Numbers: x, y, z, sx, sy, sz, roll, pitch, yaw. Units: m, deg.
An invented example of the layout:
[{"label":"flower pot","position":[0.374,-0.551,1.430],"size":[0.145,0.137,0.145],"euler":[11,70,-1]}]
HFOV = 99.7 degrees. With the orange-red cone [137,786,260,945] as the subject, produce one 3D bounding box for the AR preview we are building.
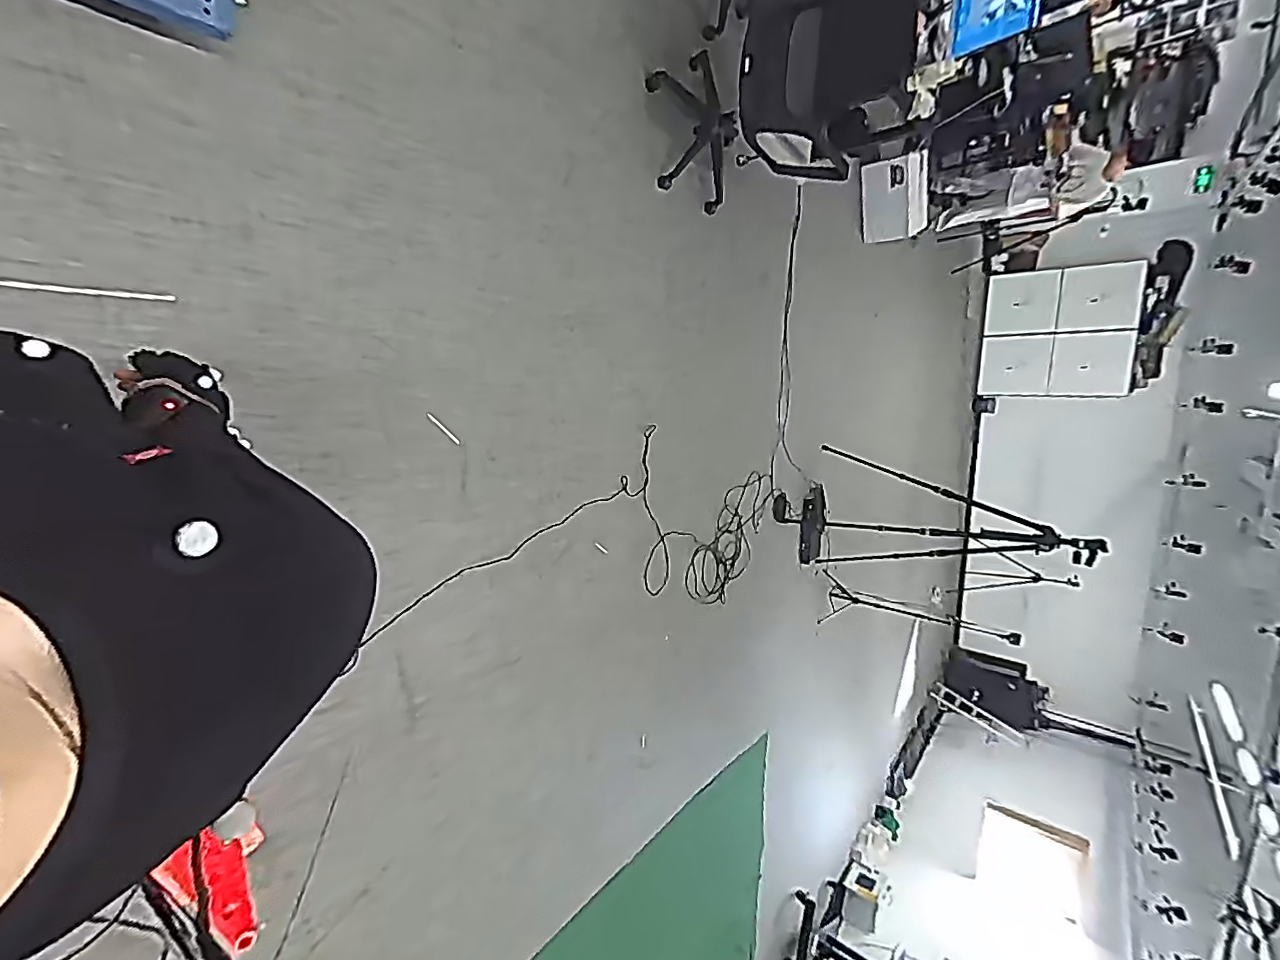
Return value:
[{"label":"orange-red cone","position":[-0.936,0.900,1.209],"size":[0.198,0.360,0.199],"euler":[-34,123,-41]}]
